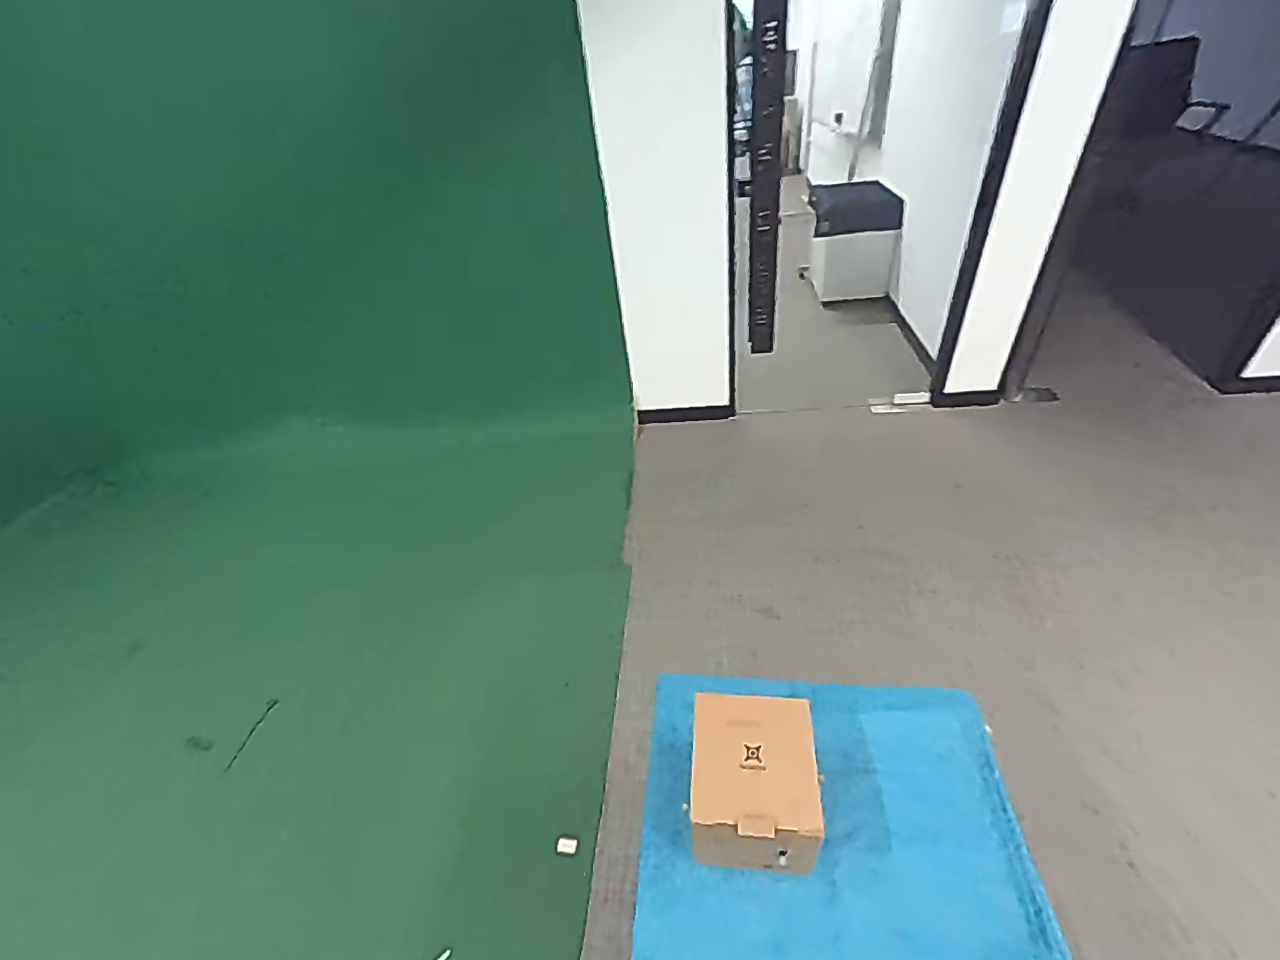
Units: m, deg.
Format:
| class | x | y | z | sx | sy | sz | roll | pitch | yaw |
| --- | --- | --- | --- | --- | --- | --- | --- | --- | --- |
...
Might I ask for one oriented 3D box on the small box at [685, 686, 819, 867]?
| class | x | y | z | sx | sy | sz | roll | pitch | yaw |
| --- | --- | --- | --- | --- | --- | --- | --- | --- | --- |
| small box | 0.157 | 0.424 | 0.775 | 0.168 | 0.176 | 0.179 | 1 | 40 | 9 |
